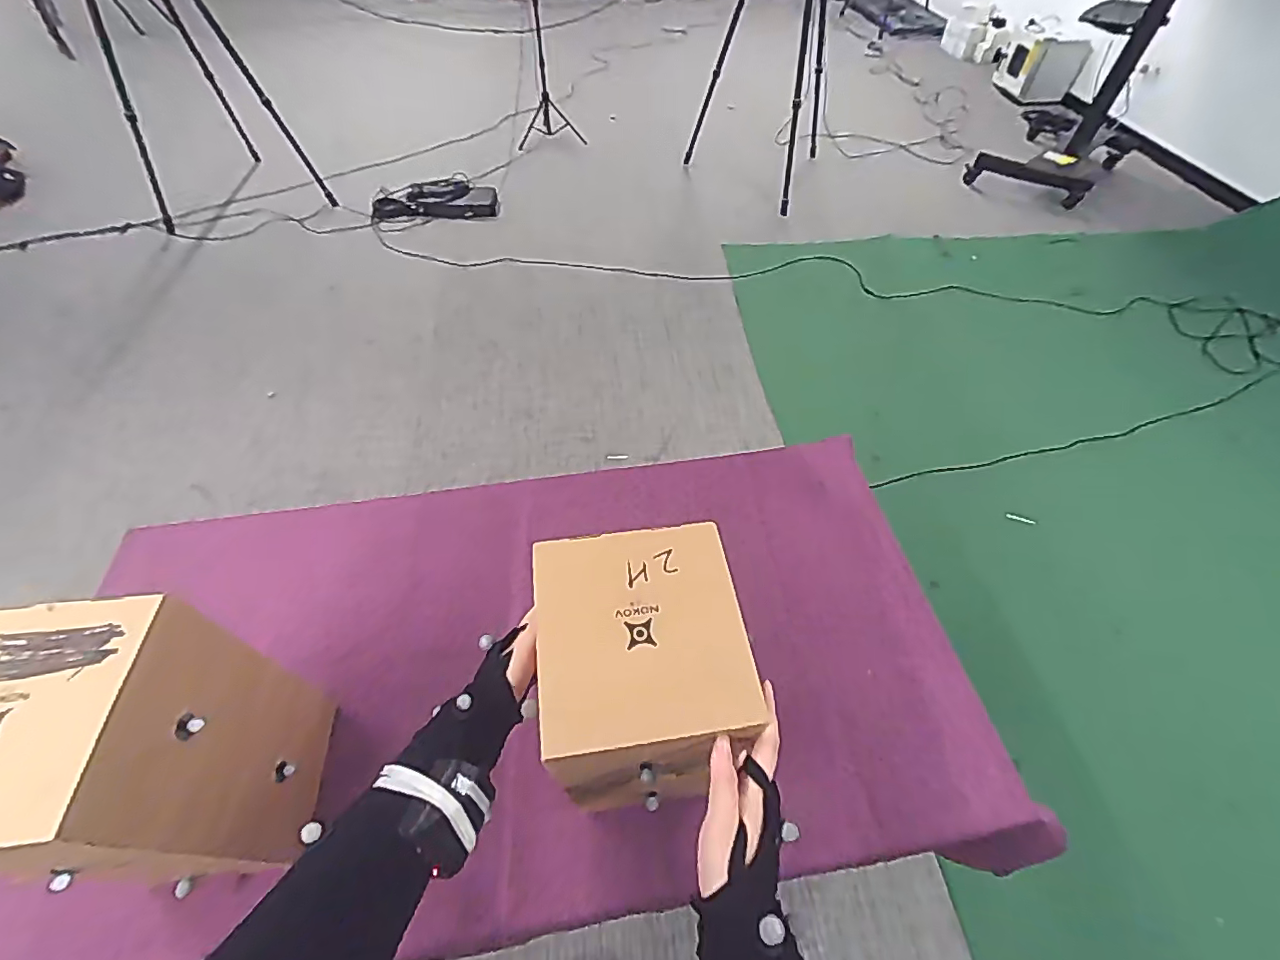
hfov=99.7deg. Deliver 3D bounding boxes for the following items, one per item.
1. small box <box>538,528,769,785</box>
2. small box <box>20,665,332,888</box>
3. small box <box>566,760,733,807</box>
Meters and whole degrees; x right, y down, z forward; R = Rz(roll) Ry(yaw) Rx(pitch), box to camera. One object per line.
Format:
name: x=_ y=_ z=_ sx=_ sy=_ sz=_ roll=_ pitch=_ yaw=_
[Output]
small box: x=0.001 y=0.167 z=0.494 sx=0.168 sy=0.176 sz=0.179 roll=-6 pitch=54 yaw=-7
small box: x=-0.461 y=0.320 z=0.581 sx=0.168 sy=0.176 sz=0.179 roll=-5 pitch=53 yaw=-5
small box: x=0.000 y=0.269 z=0.630 sx=0.168 sy=0.176 sz=0.179 roll=-6 pitch=53 yaw=-6
